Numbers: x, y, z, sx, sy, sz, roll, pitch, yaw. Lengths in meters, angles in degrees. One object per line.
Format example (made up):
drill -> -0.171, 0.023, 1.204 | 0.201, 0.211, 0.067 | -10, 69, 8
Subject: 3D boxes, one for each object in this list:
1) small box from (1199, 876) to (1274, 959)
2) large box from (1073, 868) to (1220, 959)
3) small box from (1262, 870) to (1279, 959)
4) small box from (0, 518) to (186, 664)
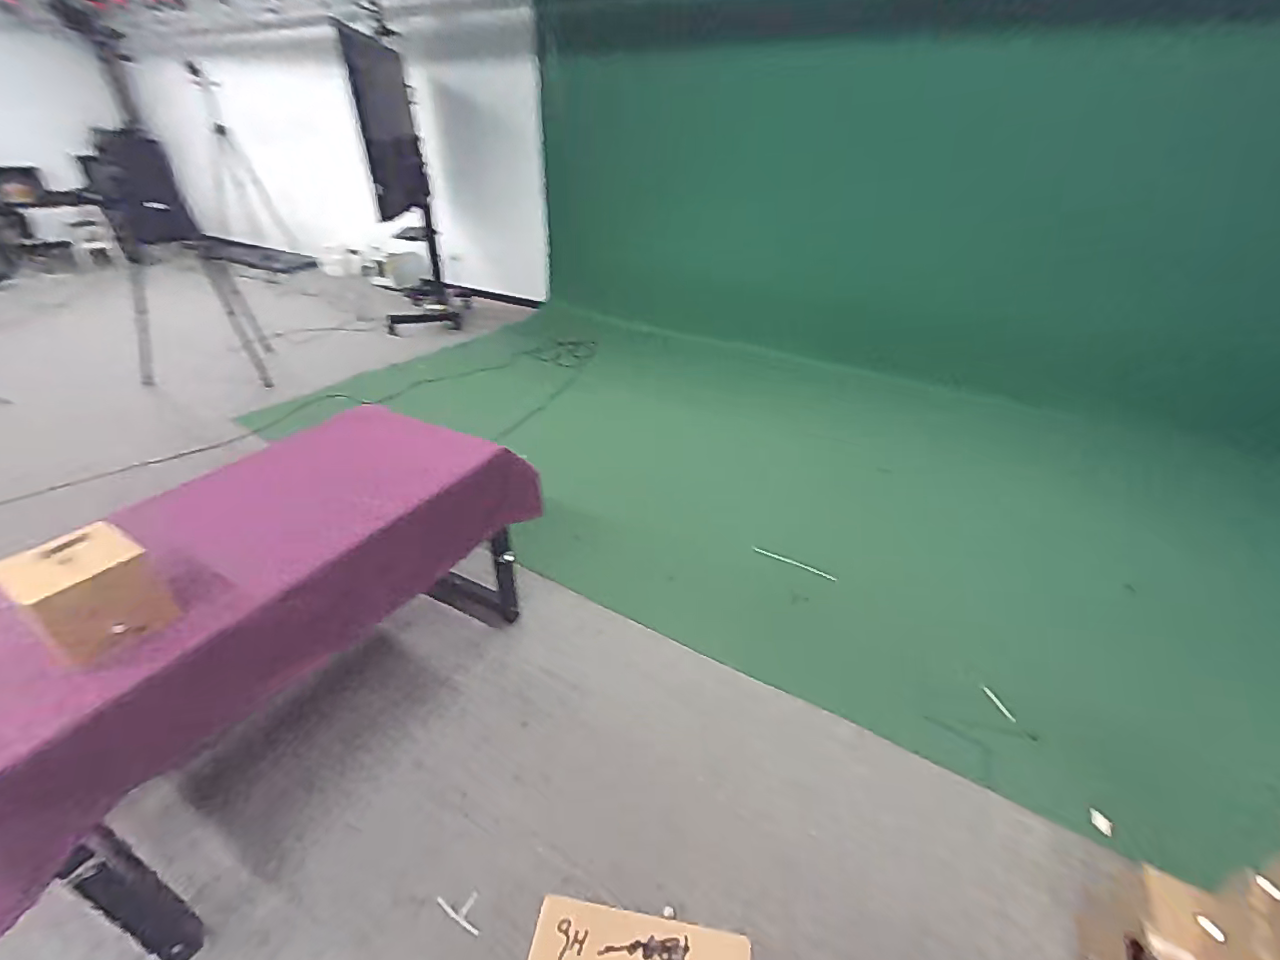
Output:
small box -> 1.098, 0.831, 0.905 | 0.179, 0.176, 0.168 | 26, 39, 32
large box -> 1.130, 1.052, 1.012 | 0.408, 0.320, 0.320 | 20, 37, 23
small box -> 1.115, 0.695, 0.817 | 0.179, 0.176, 0.168 | 28, 40, 36
small box -> -0.994, 0.202, 0.991 | 0.179, 0.176, 0.168 | 20, 37, 24
